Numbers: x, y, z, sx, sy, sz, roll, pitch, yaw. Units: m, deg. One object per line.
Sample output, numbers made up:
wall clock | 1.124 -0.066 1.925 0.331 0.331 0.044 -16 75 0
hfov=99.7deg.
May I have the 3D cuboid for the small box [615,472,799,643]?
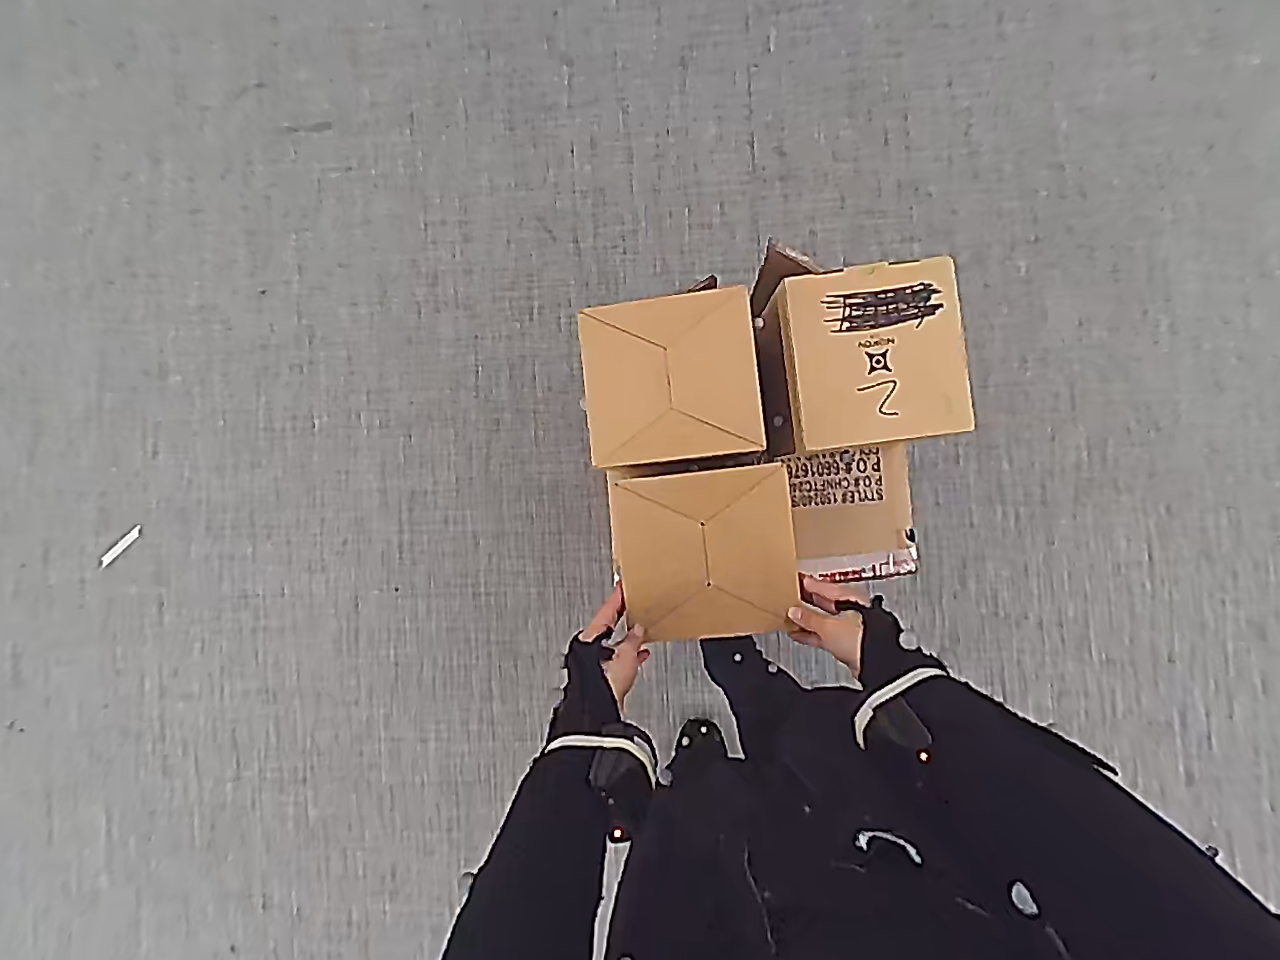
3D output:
small box | 0.070 0.081 0.623 0.179 0.176 0.168 -6 89 5
